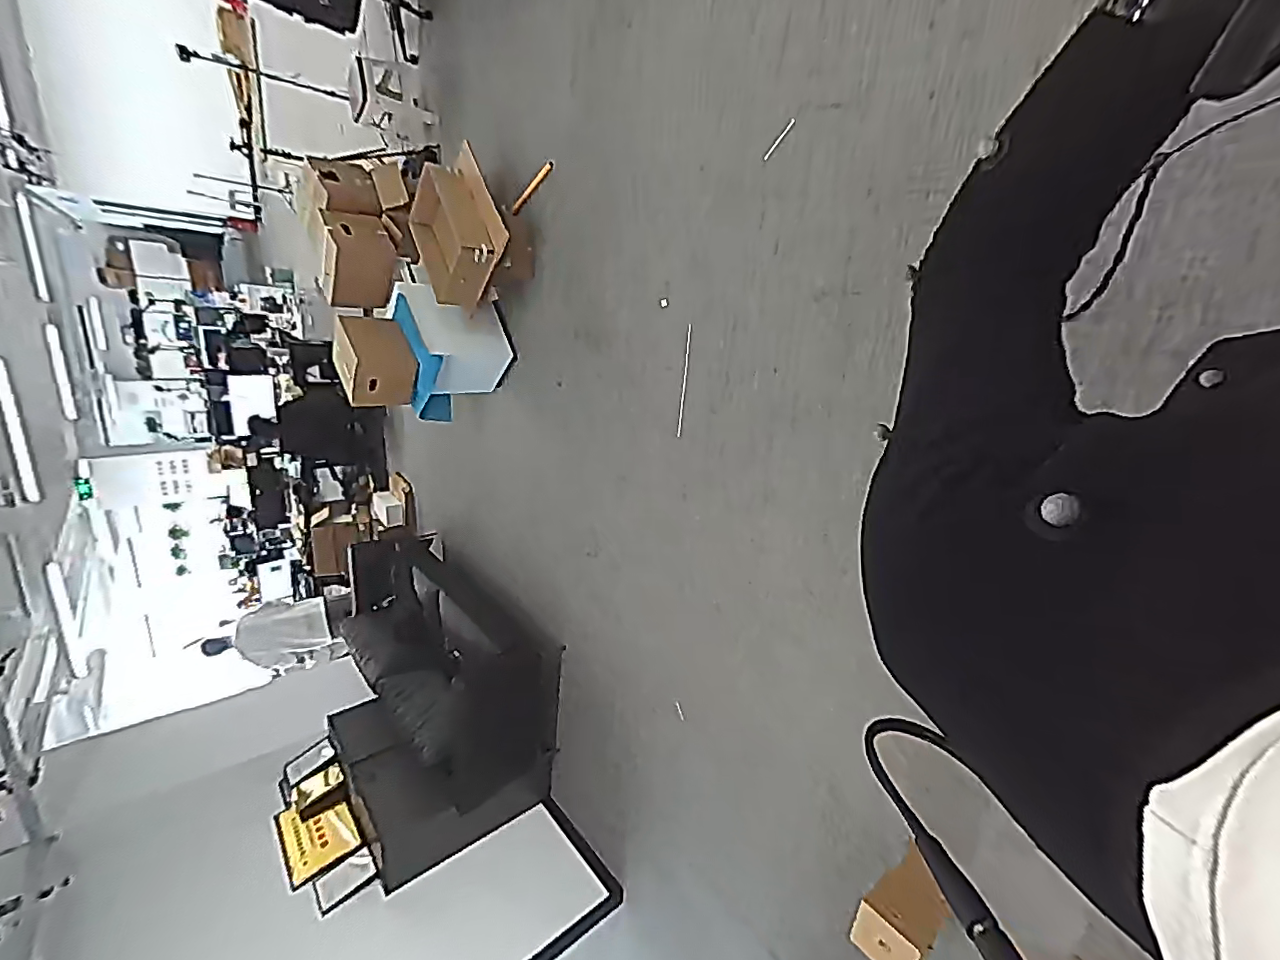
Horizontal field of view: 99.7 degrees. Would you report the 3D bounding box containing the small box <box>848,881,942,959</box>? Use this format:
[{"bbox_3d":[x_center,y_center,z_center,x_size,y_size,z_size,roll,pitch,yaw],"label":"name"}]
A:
[{"bbox_3d":[0.743,1.327,1.570,0.179,0.176,0.168,26,115,45],"label":"small box"}]
